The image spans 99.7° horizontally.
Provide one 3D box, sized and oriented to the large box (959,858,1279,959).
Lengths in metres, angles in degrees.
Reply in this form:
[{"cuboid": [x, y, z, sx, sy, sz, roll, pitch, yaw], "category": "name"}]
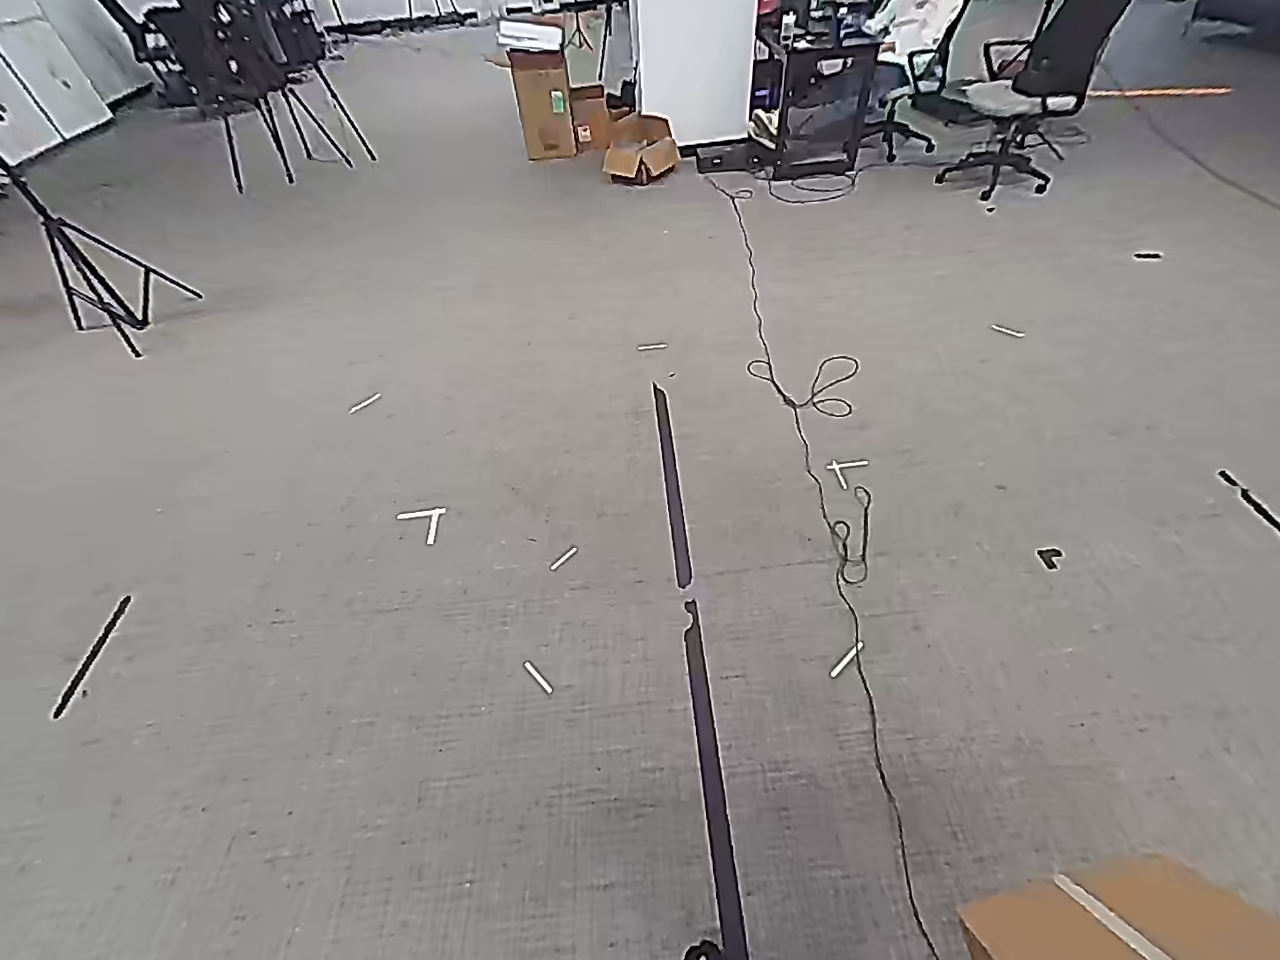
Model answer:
[{"cuboid": [0.636, 0.698, 0.567, 0.320, 0.408, 0.320, -17, 81, 1], "category": "large box"}]
